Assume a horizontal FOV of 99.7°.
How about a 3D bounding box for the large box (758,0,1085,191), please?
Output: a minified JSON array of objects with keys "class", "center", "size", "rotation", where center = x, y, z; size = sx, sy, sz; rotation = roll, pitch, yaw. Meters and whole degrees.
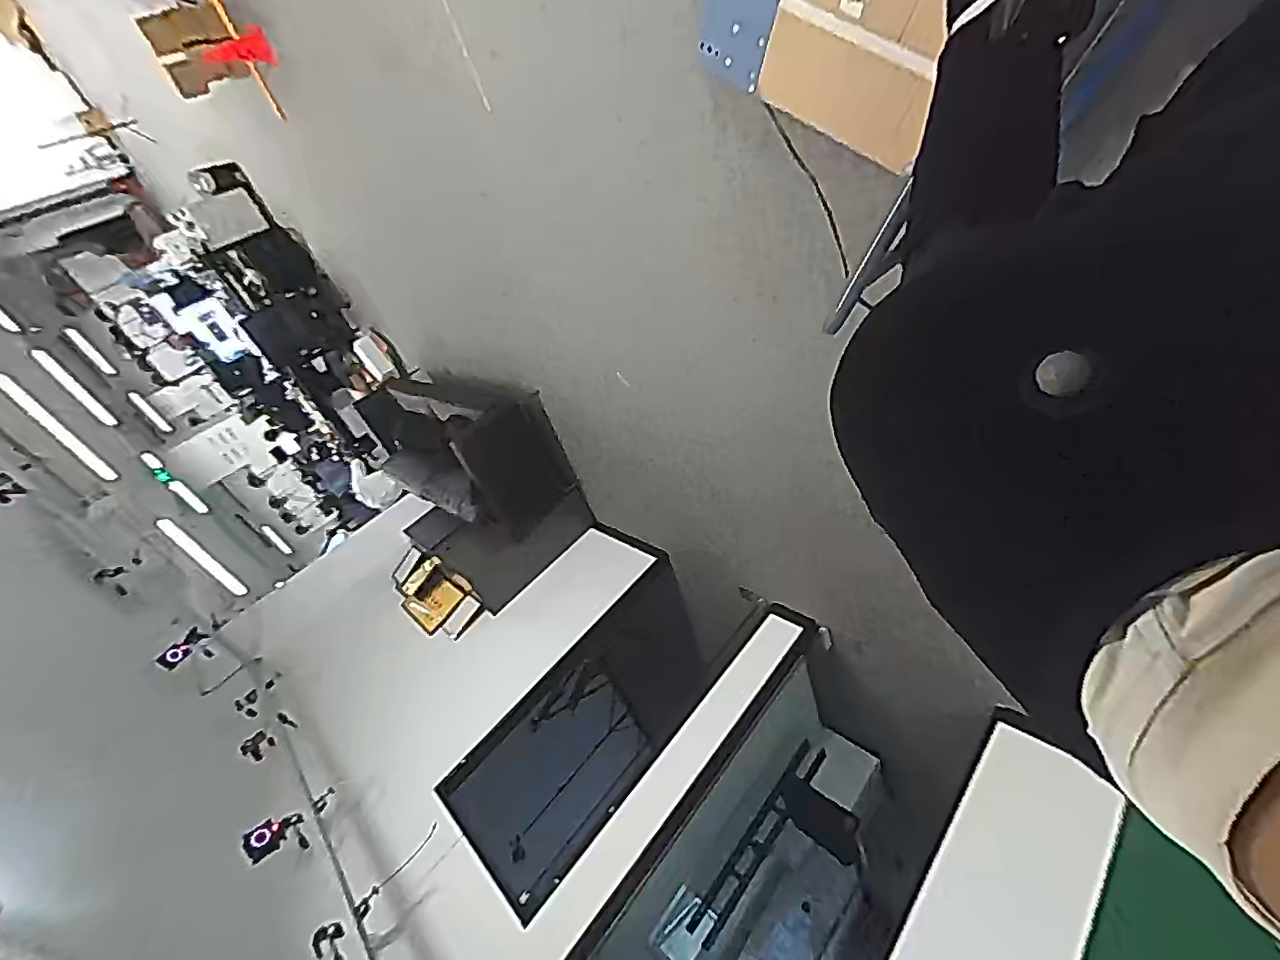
[{"class":"large box","center":[0.497,-0.802,0.962],"size":[0.408,0.320,0.320],"rotation":[41,152,16]}]
